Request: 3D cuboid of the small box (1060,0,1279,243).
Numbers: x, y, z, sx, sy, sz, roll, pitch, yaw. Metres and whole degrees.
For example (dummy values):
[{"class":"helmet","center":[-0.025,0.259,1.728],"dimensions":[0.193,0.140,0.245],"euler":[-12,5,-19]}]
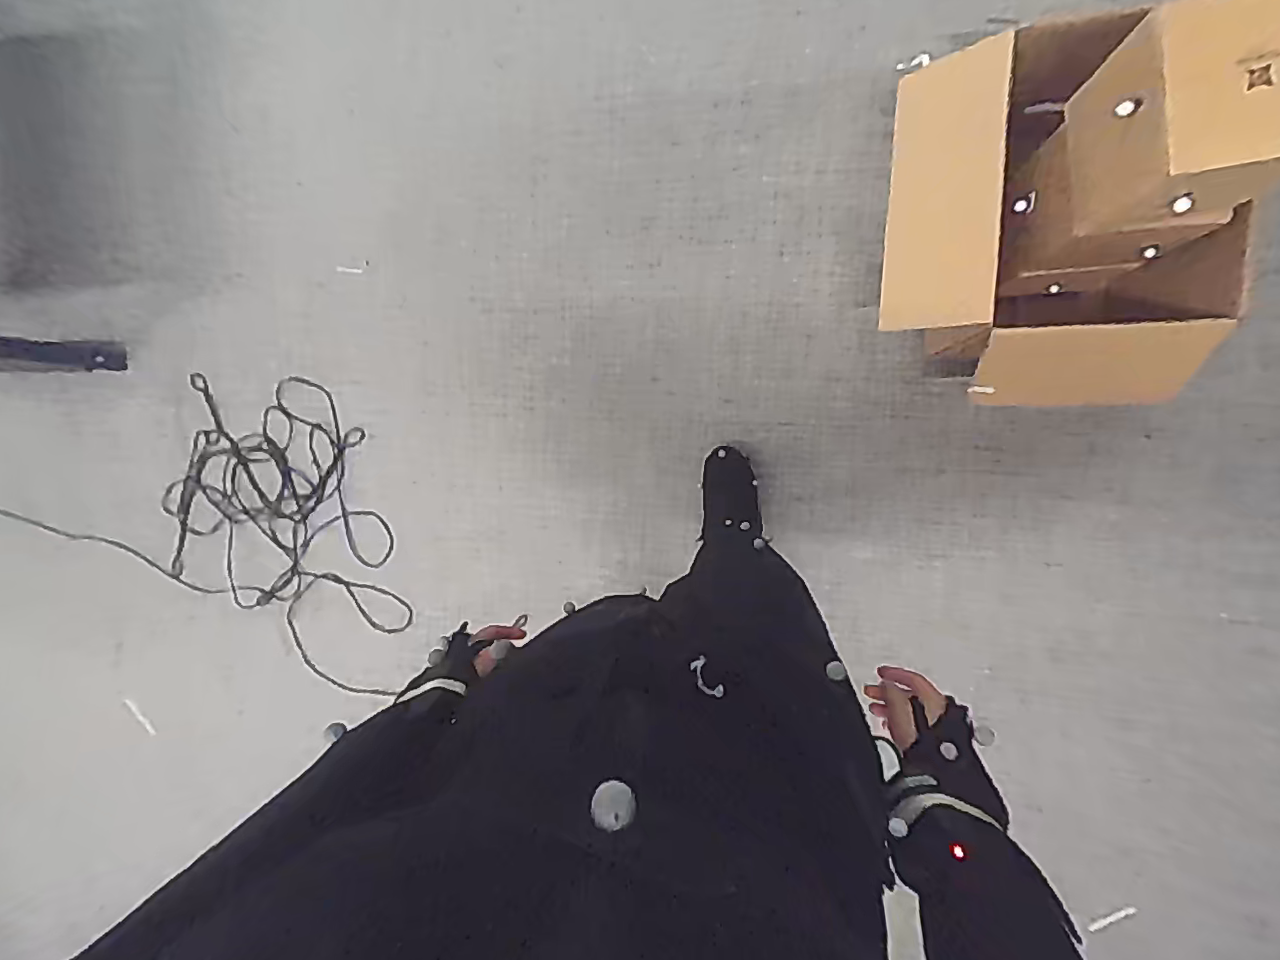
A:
[{"class":"small box","center":[0.628,-0.395,0.628],"dimensions":[0.168,0.176,0.179],"euler":[-5,90,11]}]
